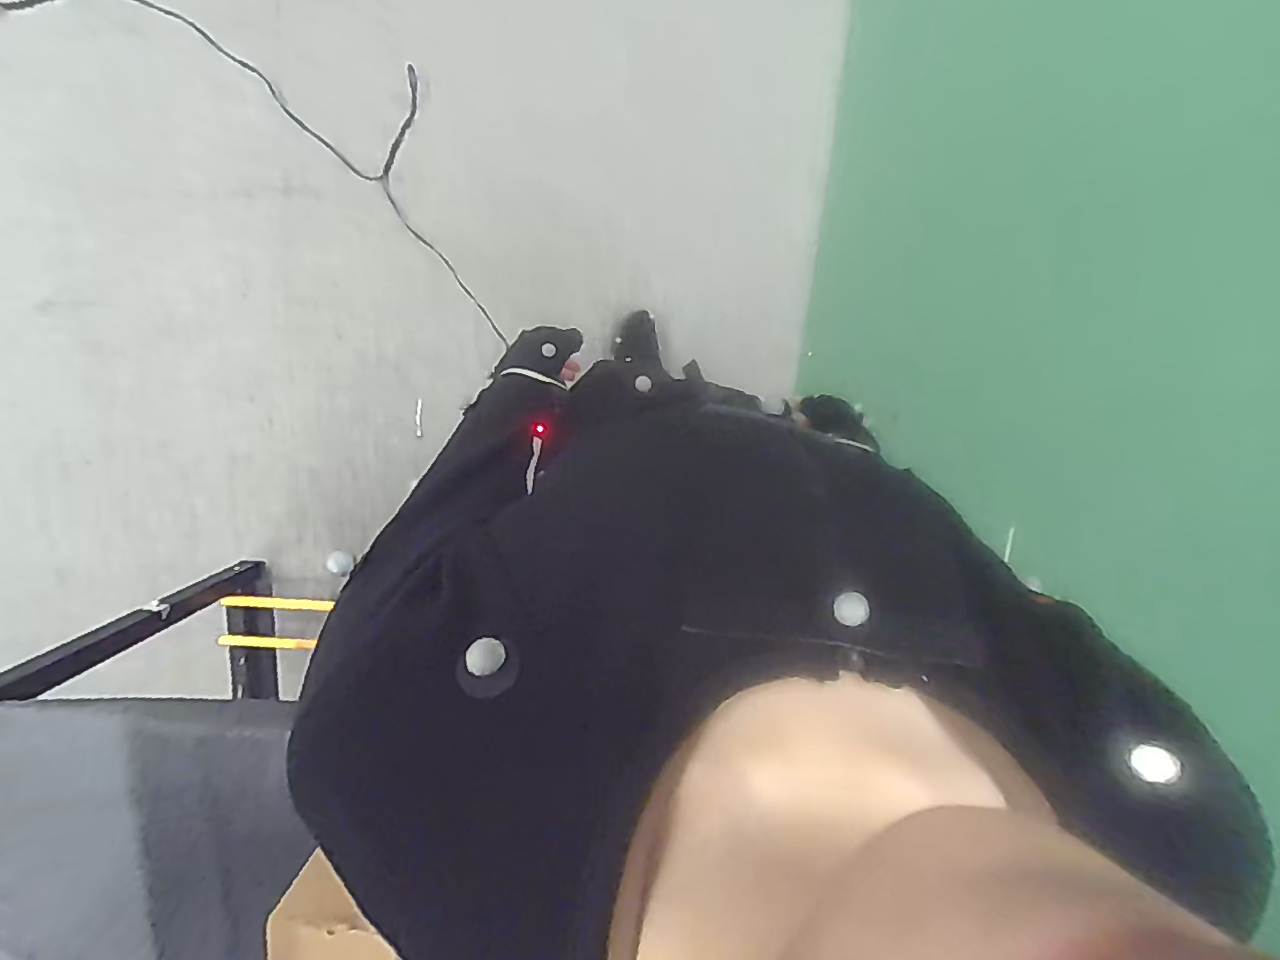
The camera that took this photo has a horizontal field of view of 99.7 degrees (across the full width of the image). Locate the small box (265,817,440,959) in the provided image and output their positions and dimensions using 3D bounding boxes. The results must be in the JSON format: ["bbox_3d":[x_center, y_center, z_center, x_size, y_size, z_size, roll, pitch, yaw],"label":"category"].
[{"bbox_3d":[-0.397,0.629,0.775,0.168,0.176,0.179,4,101,-1],"label":"small box"}]
